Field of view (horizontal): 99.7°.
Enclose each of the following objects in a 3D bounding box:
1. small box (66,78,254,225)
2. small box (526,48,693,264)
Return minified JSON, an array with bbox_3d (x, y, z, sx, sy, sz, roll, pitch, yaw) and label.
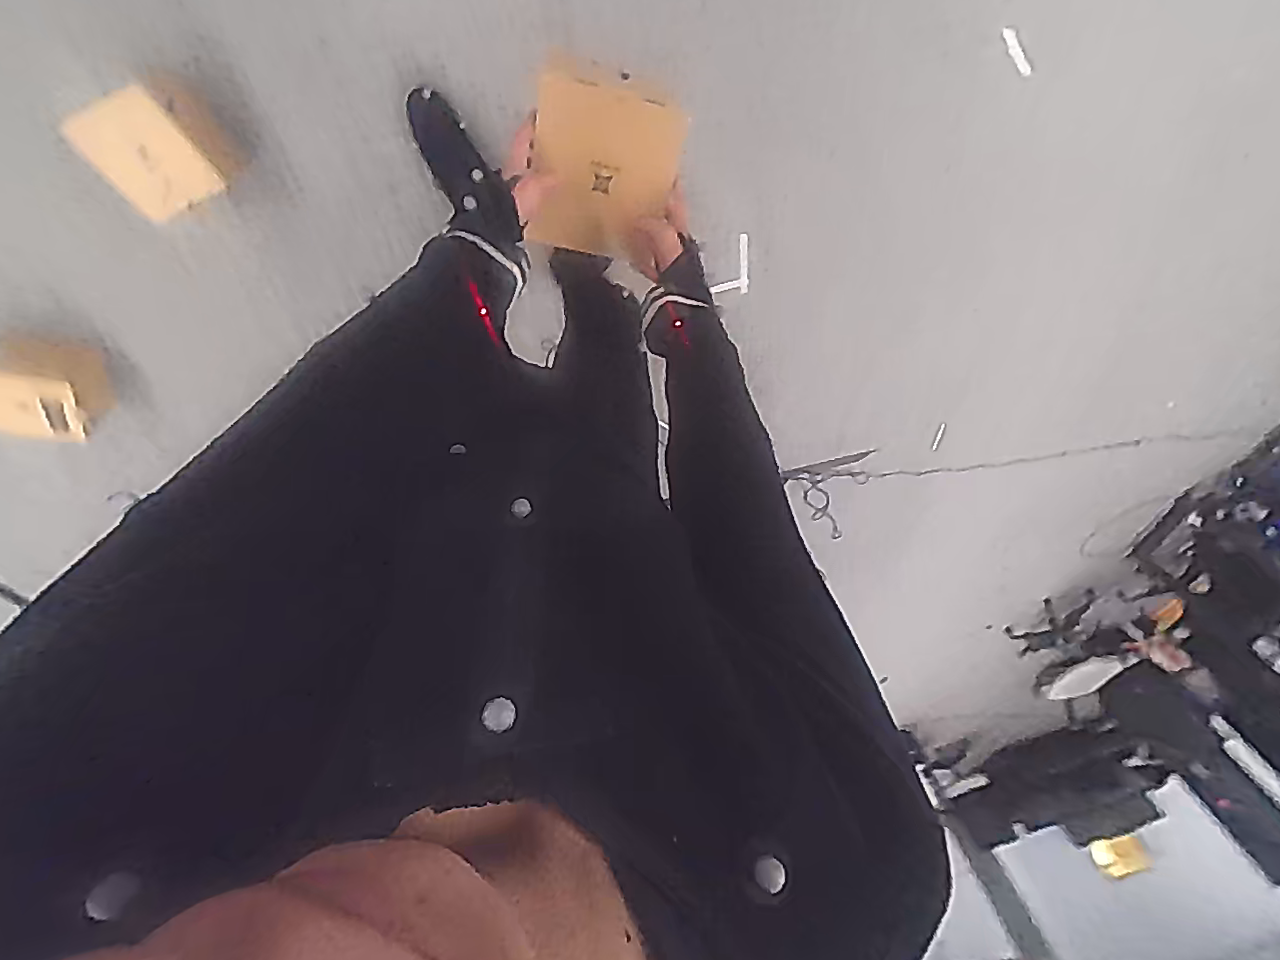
[{"bbox_3d":[-0.878,-0.619,1.011,0.168,0.176,0.179,-24,136,6],"label":"small box"},{"bbox_3d":[-0.047,-0.404,0.678,0.168,0.176,0.179,6,133,-14],"label":"small box"}]
